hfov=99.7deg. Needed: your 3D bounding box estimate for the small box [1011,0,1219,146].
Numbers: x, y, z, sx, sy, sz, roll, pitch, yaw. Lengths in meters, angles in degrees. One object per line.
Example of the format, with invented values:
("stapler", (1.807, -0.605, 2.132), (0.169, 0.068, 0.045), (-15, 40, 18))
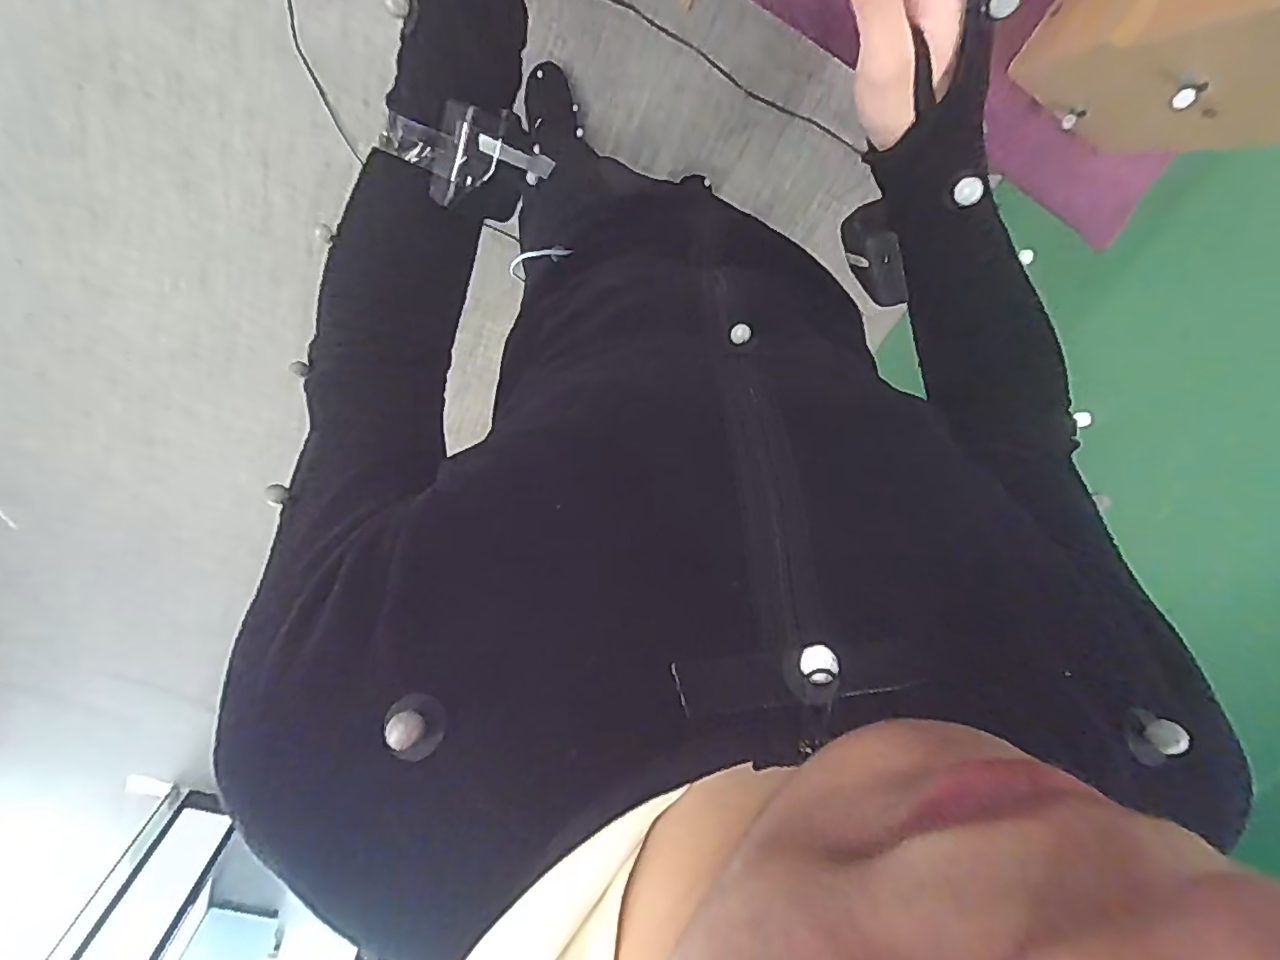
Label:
("small box", (0.545, -0.474, 0.555), (0.179, 0.176, 0.168), (27, 116, -14))
